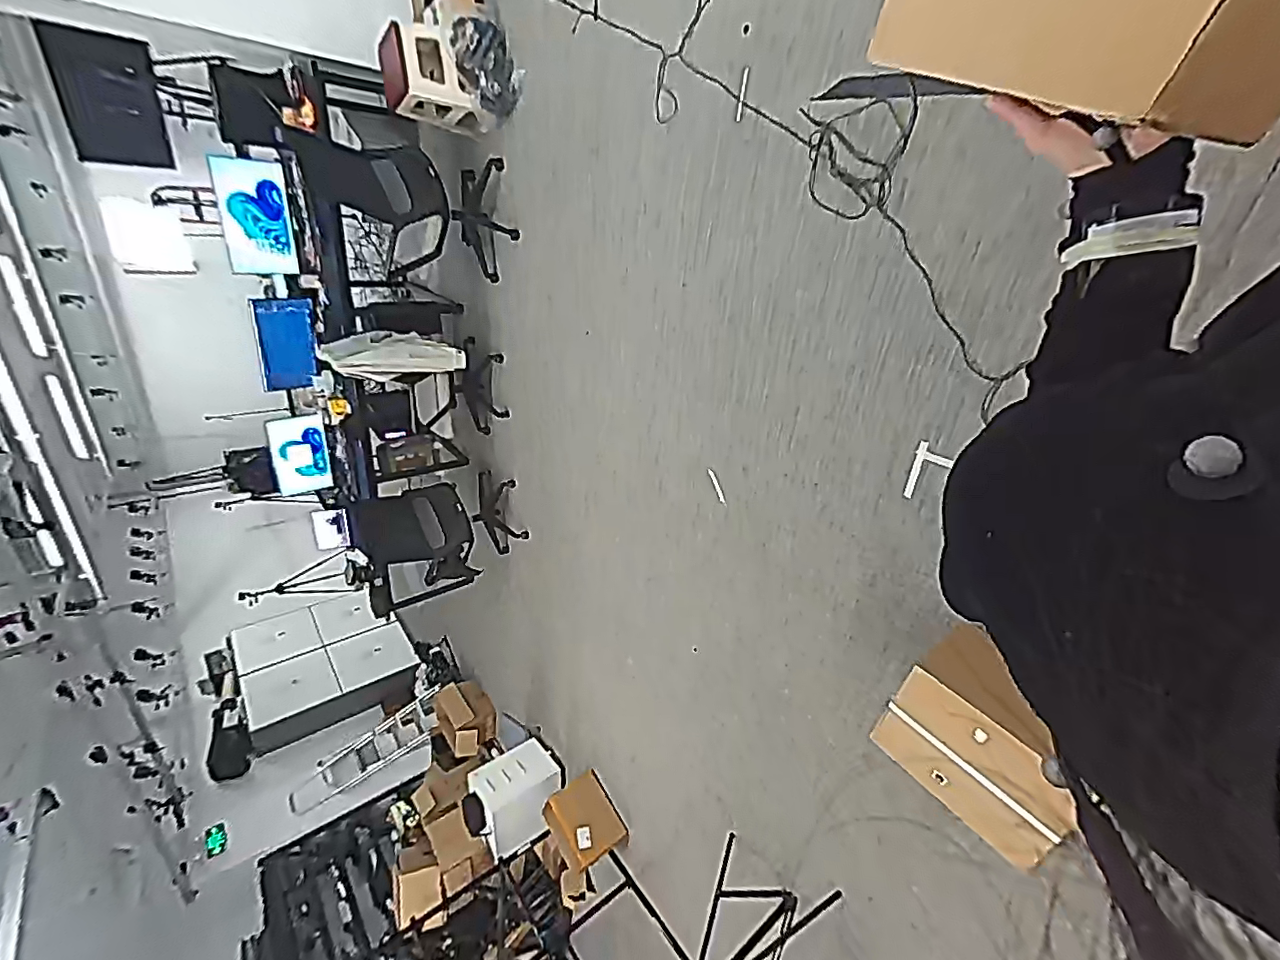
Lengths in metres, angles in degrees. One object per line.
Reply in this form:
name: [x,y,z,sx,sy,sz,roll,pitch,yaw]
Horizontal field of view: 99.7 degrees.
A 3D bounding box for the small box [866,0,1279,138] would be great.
small box: [0.271,-0.298,0.290,0.179,0.176,0.168,51,143,37]
